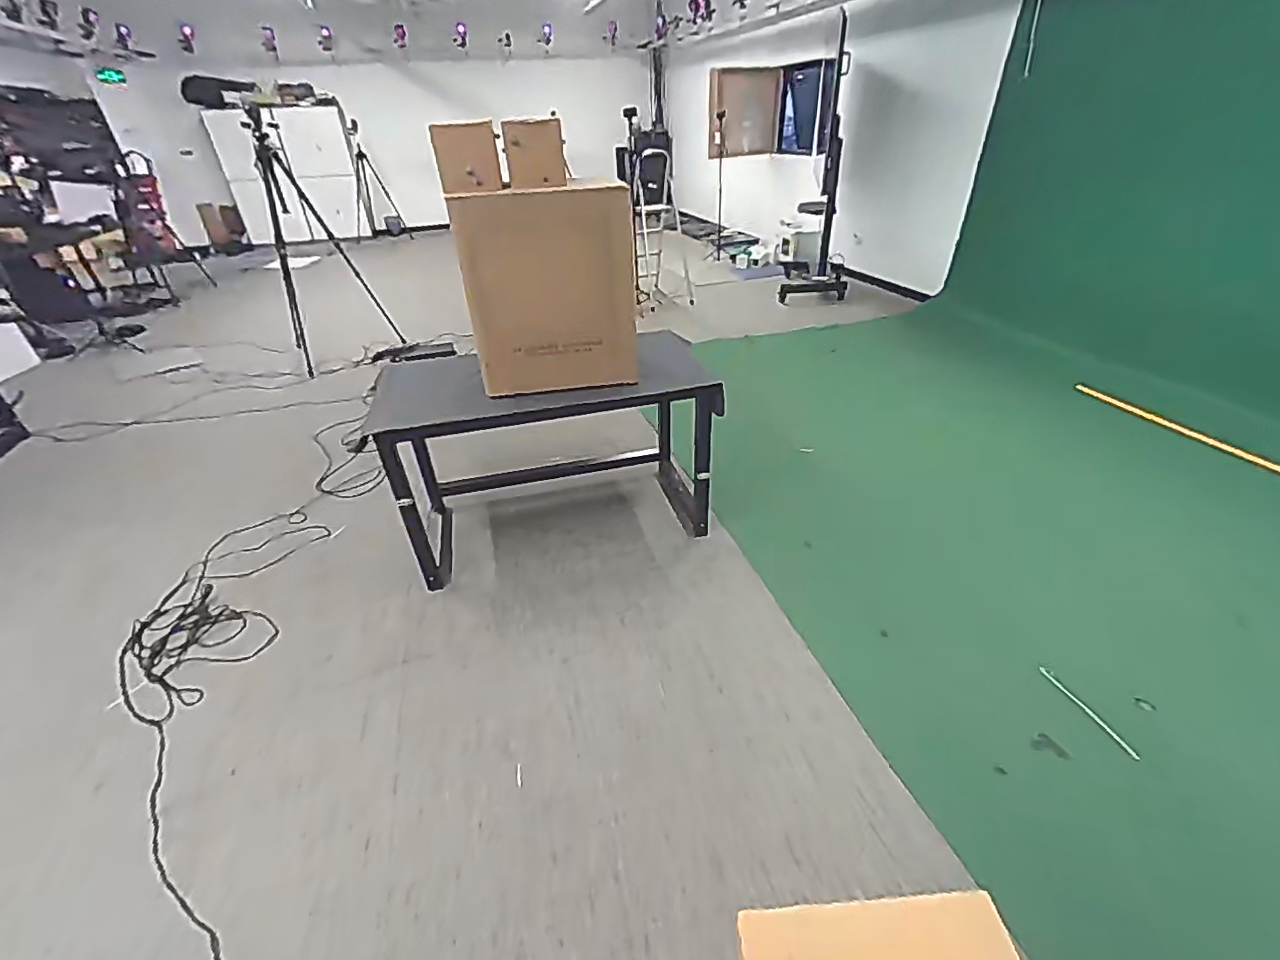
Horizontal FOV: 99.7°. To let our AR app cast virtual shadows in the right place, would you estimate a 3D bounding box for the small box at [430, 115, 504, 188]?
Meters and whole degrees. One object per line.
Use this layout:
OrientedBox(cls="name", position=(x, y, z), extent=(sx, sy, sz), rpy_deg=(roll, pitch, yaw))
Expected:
OrientedBox(cls="small box", position=(-0.493, -0.950, 1.562), extent=(0.168, 0.176, 0.179), rpy_deg=(-9, 36, -7))
